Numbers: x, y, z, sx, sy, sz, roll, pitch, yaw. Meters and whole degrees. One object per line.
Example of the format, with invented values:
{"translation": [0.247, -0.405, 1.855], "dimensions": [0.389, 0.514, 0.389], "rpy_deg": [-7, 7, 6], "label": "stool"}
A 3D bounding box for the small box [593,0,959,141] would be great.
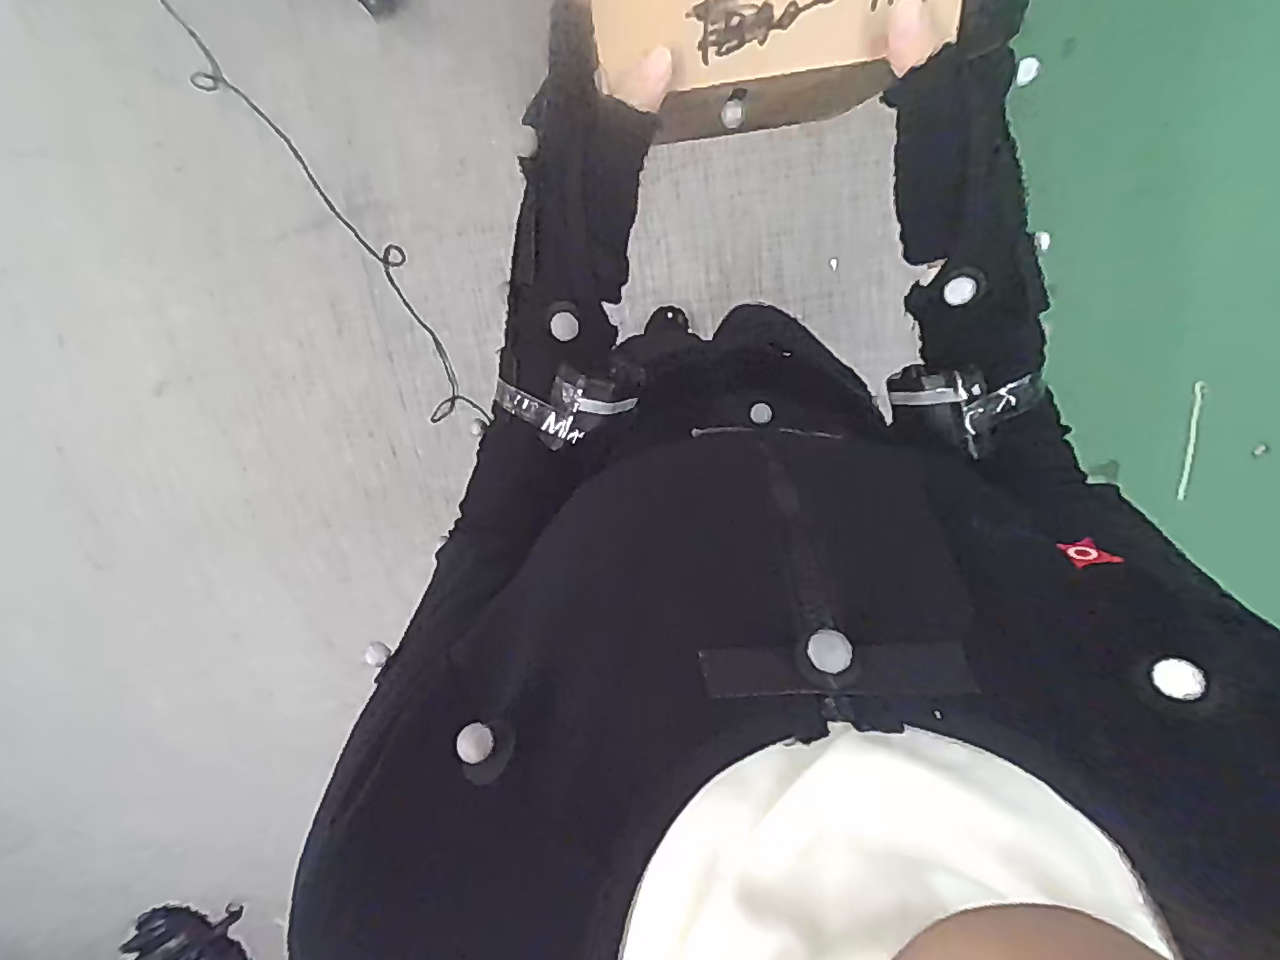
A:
{"translation": [0.052, -0.311, 0.295], "dimensions": [0.168, 0.176, 0.179], "rpy_deg": [-9, 115, 3], "label": "small box"}
